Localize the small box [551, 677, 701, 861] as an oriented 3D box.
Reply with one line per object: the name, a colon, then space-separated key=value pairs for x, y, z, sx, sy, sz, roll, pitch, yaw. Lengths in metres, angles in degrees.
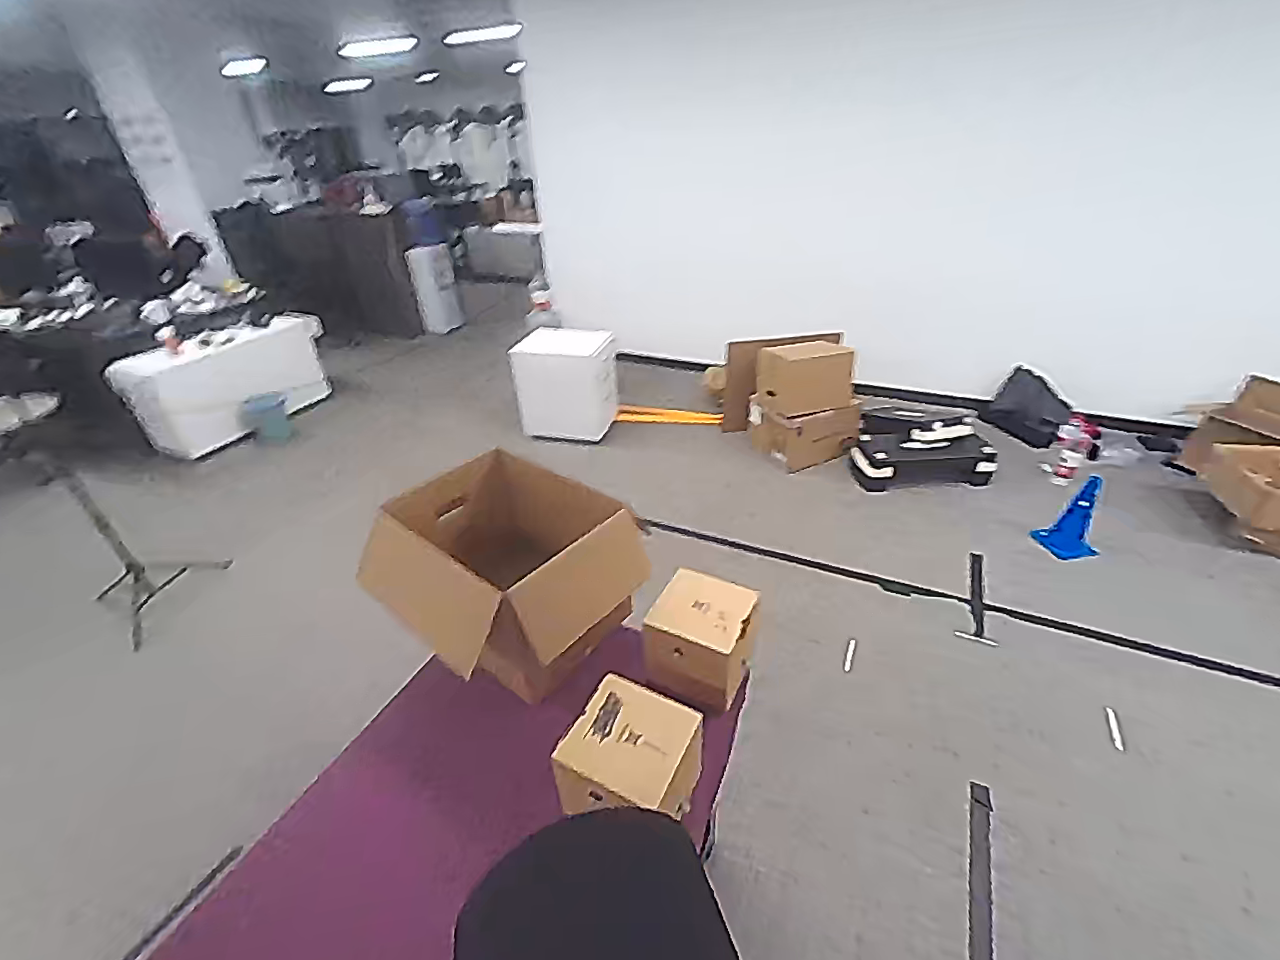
small box: x=-0.015 y=0.456 z=0.858 sx=0.179 sy=0.176 sz=0.168 roll=15 pitch=37 yaw=25

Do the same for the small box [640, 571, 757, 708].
small box: x=0.118 y=0.312 z=1.064 sx=0.179 sy=0.176 sz=0.168 roll=14 pitch=38 yaw=26
